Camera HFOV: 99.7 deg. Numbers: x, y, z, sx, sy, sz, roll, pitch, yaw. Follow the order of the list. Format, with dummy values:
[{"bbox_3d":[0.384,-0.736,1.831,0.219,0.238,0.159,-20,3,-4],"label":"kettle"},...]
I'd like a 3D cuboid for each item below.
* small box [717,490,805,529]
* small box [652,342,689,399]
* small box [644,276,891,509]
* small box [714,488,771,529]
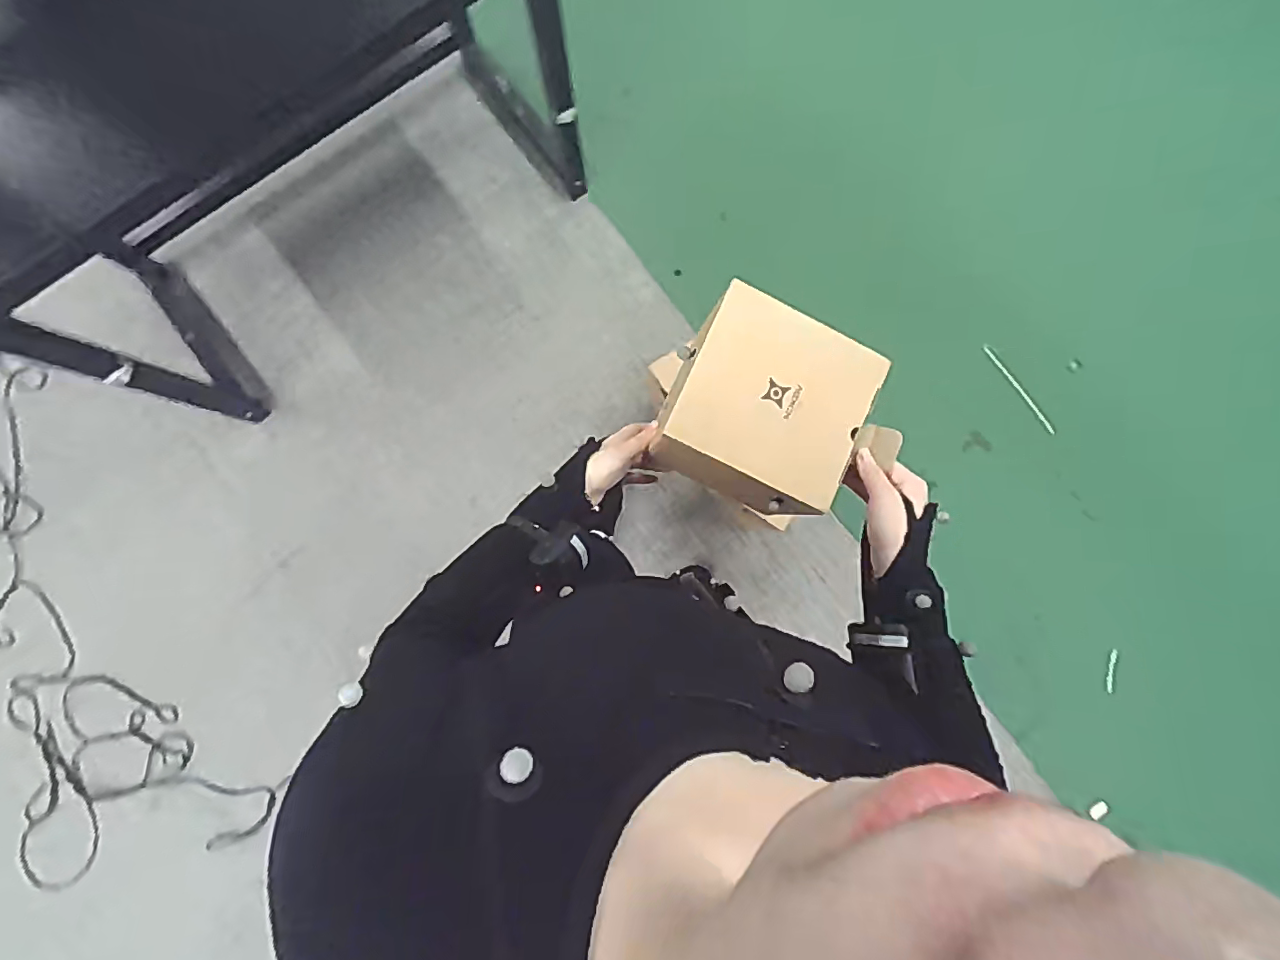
[{"bbox_3d":[0.300,0.003,1.270,0.179,0.176,0.168,33,88,2],"label":"small box"},{"bbox_3d":[0.143,-0.227,1.289,0.179,0.176,0.168,-30,85,-2],"label":"small box"},{"bbox_3d":[0.116,-0.074,0.569,0.179,0.176,0.168,24,84,-5],"label":"small box"},{"bbox_3d":[0.314,0.017,1.431,0.168,0.176,0.179,-44,87,-3],"label":"small box"}]
